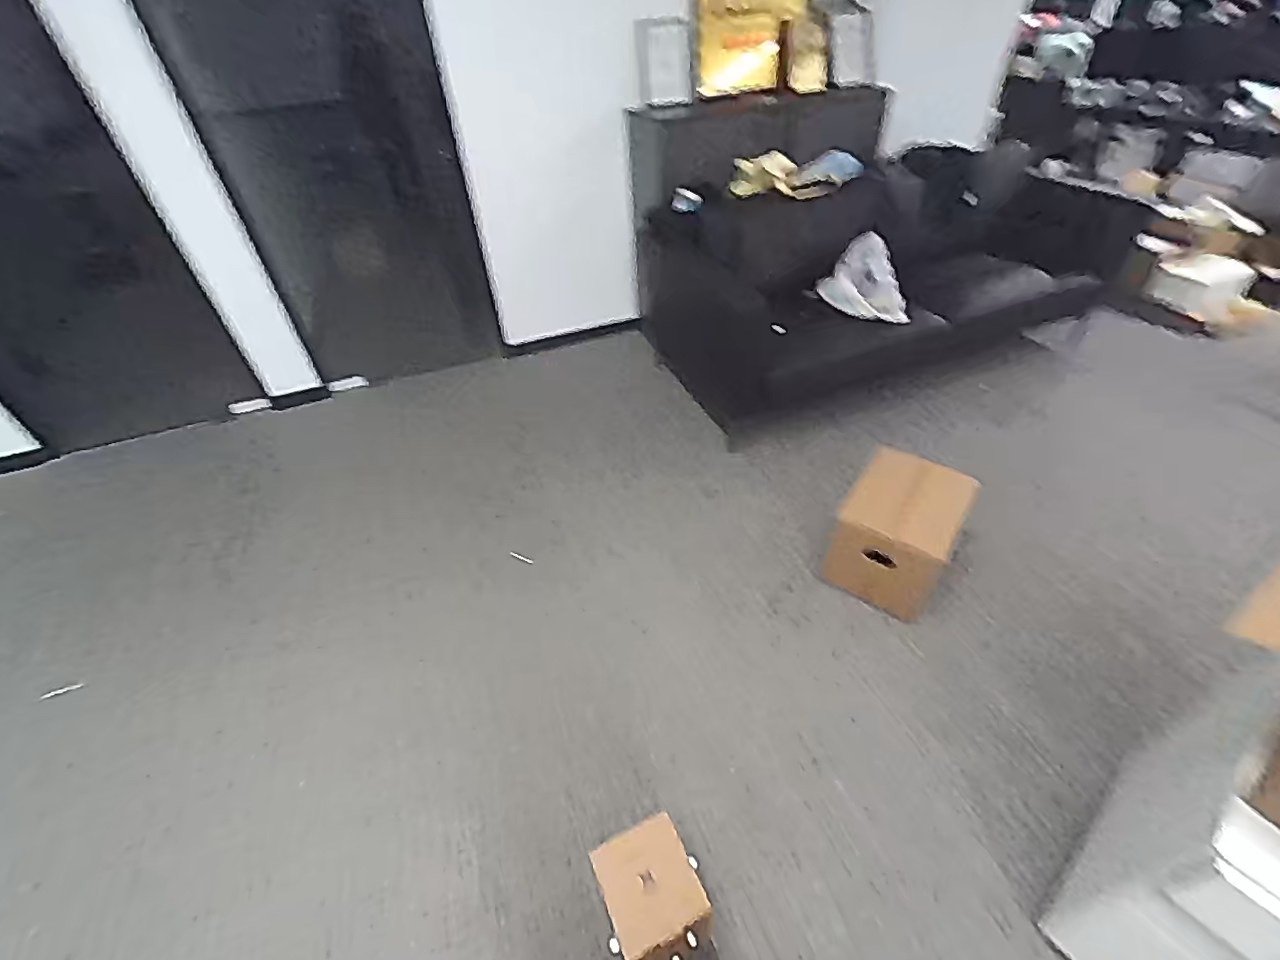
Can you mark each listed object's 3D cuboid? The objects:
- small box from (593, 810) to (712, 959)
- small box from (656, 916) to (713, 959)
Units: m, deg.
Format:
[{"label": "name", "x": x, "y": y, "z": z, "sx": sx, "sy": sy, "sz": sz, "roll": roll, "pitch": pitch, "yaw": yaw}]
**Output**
[{"label": "small box", "x": 0.024, "y": 0.780, "z": 1.029, "sx": 0.168, "sy": 0.176, "sz": 0.179, "roll": -19, "pitch": 42, "yaw": -18}, {"label": "small box", "x": 0.041, "y": 0.898, "z": 1.140, "sx": 0.168, "sy": 0.176, "sz": 0.179, "roll": -18, "pitch": 44, "yaw": -16}]
